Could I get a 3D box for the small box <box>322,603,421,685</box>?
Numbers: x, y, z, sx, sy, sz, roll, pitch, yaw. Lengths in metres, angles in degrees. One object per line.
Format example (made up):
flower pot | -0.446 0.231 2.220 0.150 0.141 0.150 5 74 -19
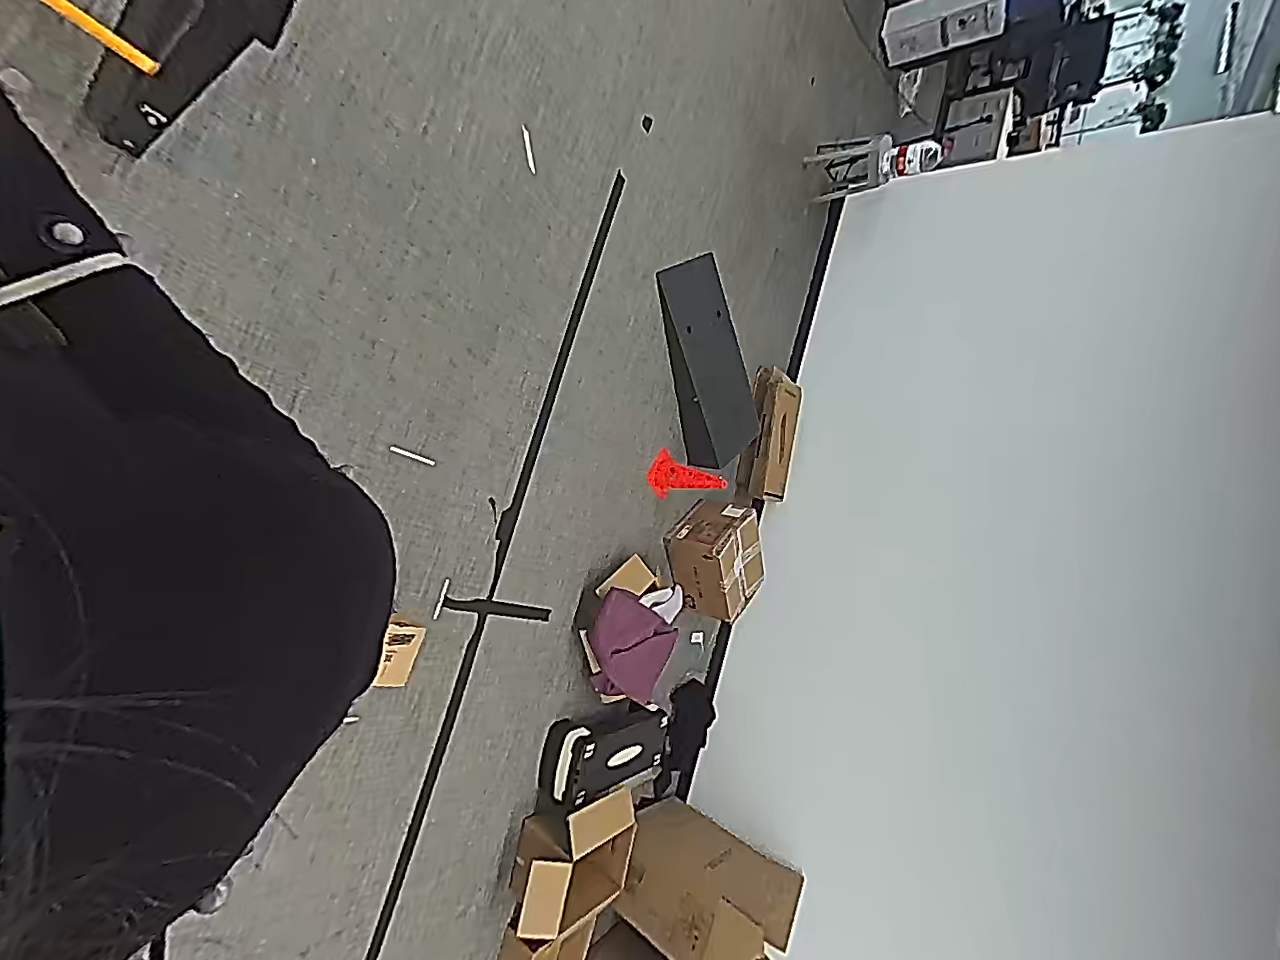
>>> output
small box | -0.770 0.466 1.545 0.168 0.176 0.179 31 75 -51
